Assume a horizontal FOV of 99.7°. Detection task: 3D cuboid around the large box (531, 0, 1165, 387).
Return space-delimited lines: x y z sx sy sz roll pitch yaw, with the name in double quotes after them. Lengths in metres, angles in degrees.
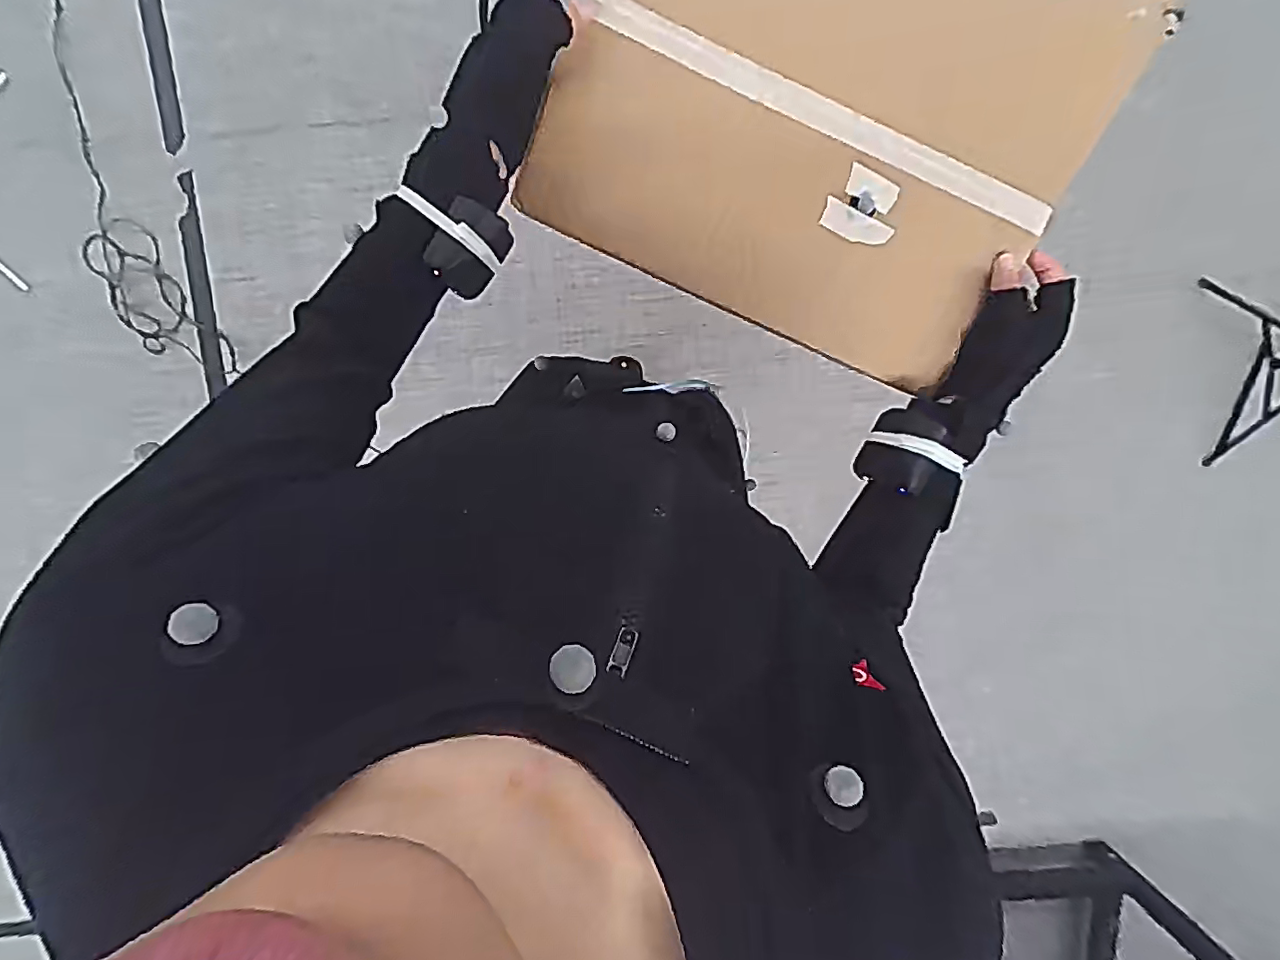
0.153 -0.340 0.569 0.408 0.320 0.320 24 111 -4 "large box"
